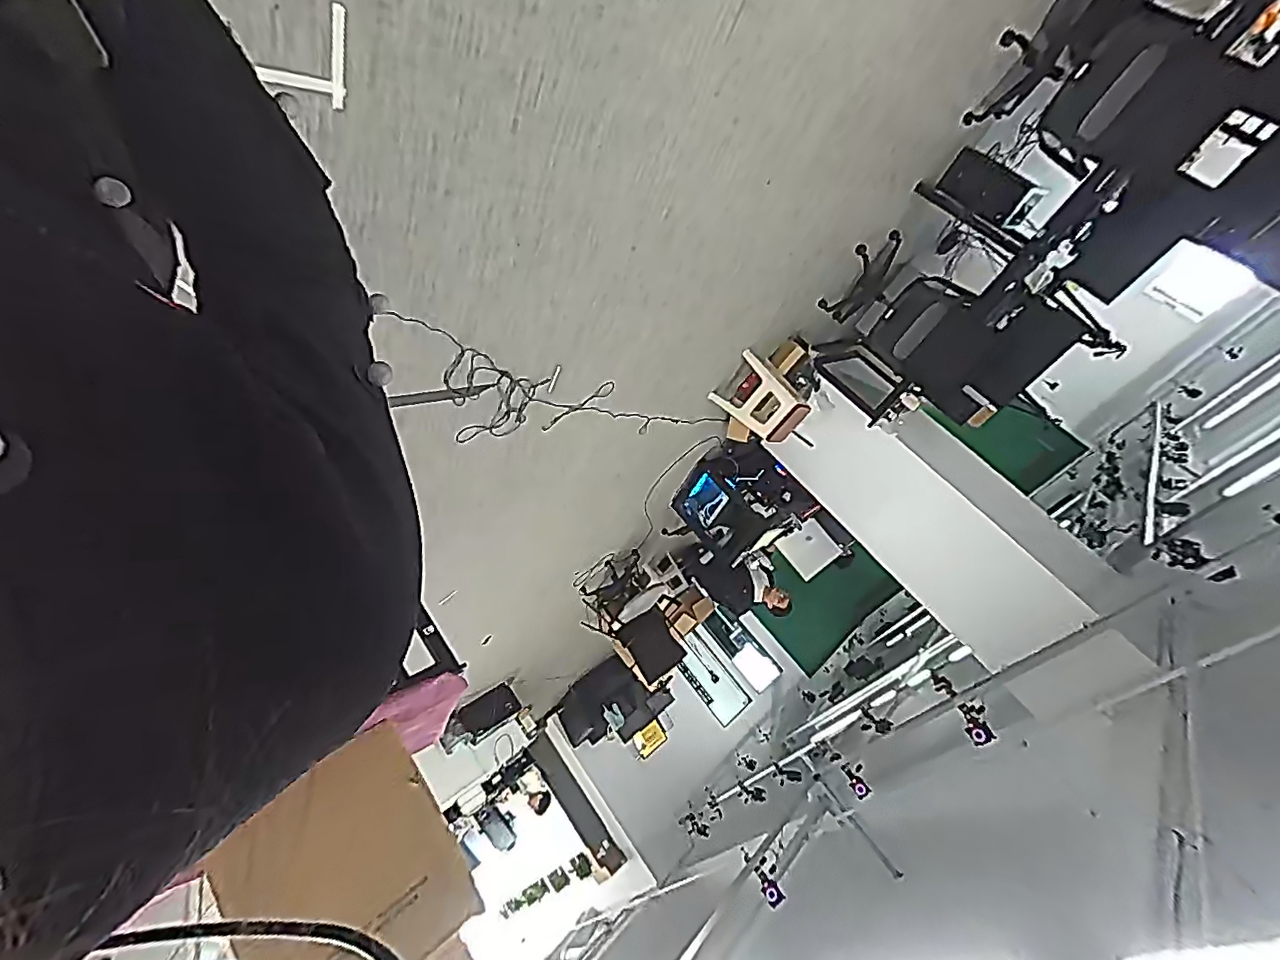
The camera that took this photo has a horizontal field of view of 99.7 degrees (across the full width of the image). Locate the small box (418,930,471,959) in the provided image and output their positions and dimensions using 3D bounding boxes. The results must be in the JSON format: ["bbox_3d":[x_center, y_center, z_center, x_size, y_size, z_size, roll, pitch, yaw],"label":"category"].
[{"bbox_3d":[-0.588,1.472,1.584,0.168,0.176,0.179,-21,152,-43],"label":"small box"}]
